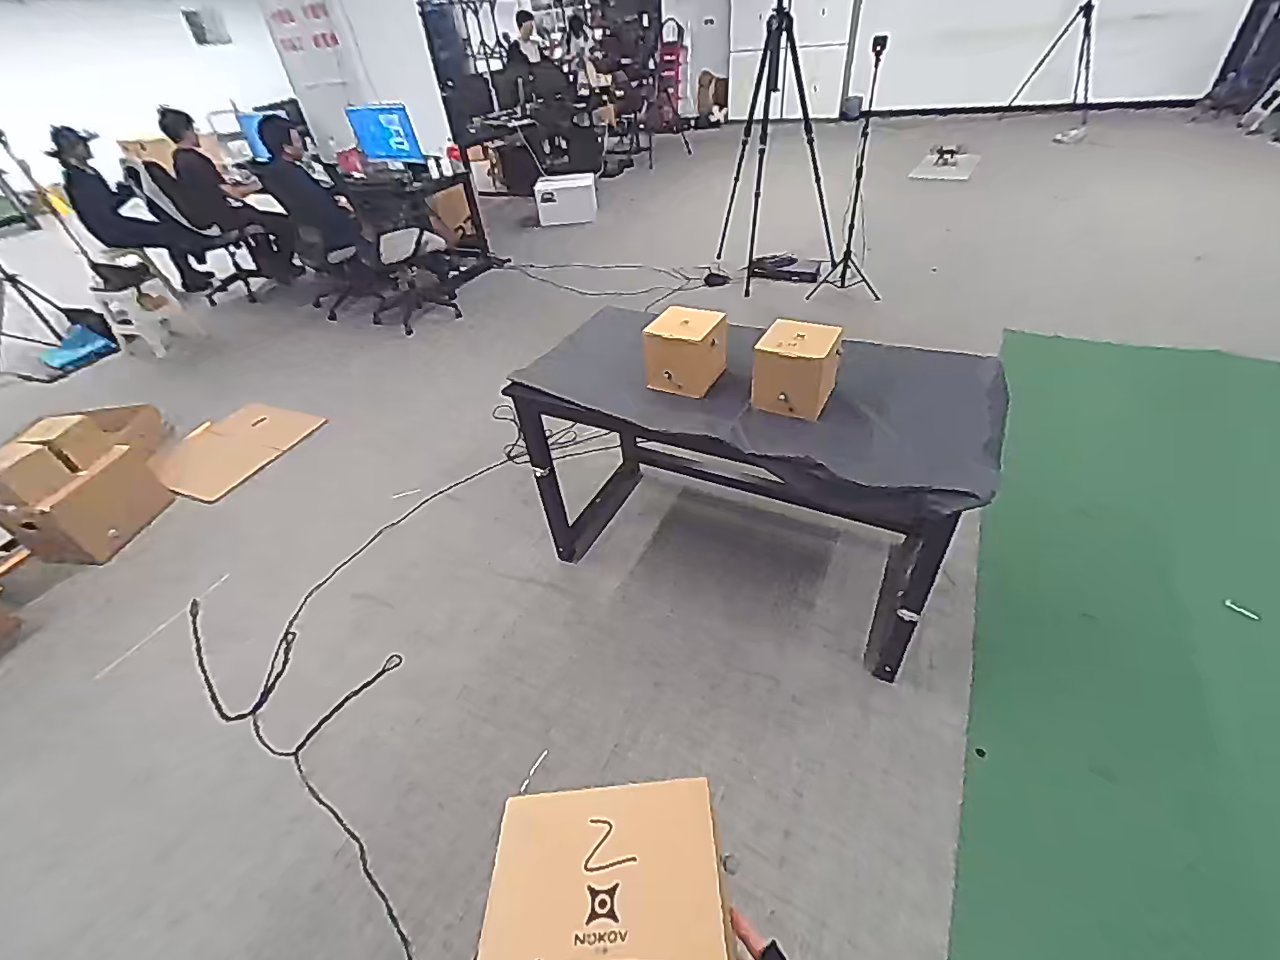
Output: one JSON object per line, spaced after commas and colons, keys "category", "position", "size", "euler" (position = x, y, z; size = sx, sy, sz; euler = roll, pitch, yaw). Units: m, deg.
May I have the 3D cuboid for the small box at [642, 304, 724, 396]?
{"category": "small box", "position": [0.117, -0.353, 1.461], "size": [0.168, 0.176, 0.179], "euler": [17, 46, 24]}

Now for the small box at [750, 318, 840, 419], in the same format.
{"category": "small box", "position": [0.379, -0.278, 1.341], "size": [0.168, 0.176, 0.179], "euler": [17, 45, 24]}
